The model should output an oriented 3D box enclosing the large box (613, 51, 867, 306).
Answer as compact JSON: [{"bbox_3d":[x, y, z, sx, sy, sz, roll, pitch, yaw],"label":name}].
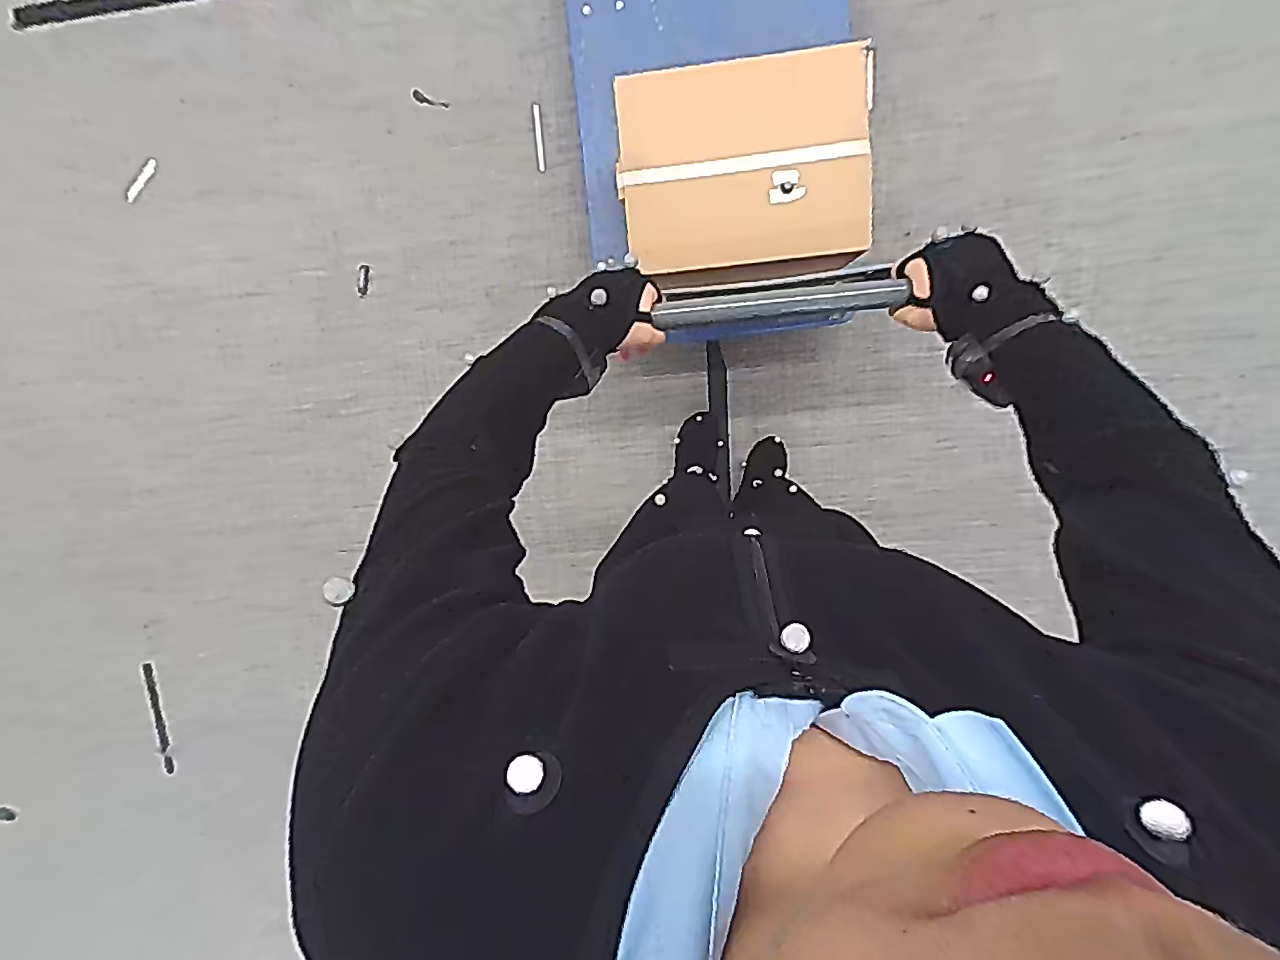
[{"bbox_3d":[0.174,-0.534,1.037,0.408,0.320,0.320,-5,101,4],"label":"large box"}]
